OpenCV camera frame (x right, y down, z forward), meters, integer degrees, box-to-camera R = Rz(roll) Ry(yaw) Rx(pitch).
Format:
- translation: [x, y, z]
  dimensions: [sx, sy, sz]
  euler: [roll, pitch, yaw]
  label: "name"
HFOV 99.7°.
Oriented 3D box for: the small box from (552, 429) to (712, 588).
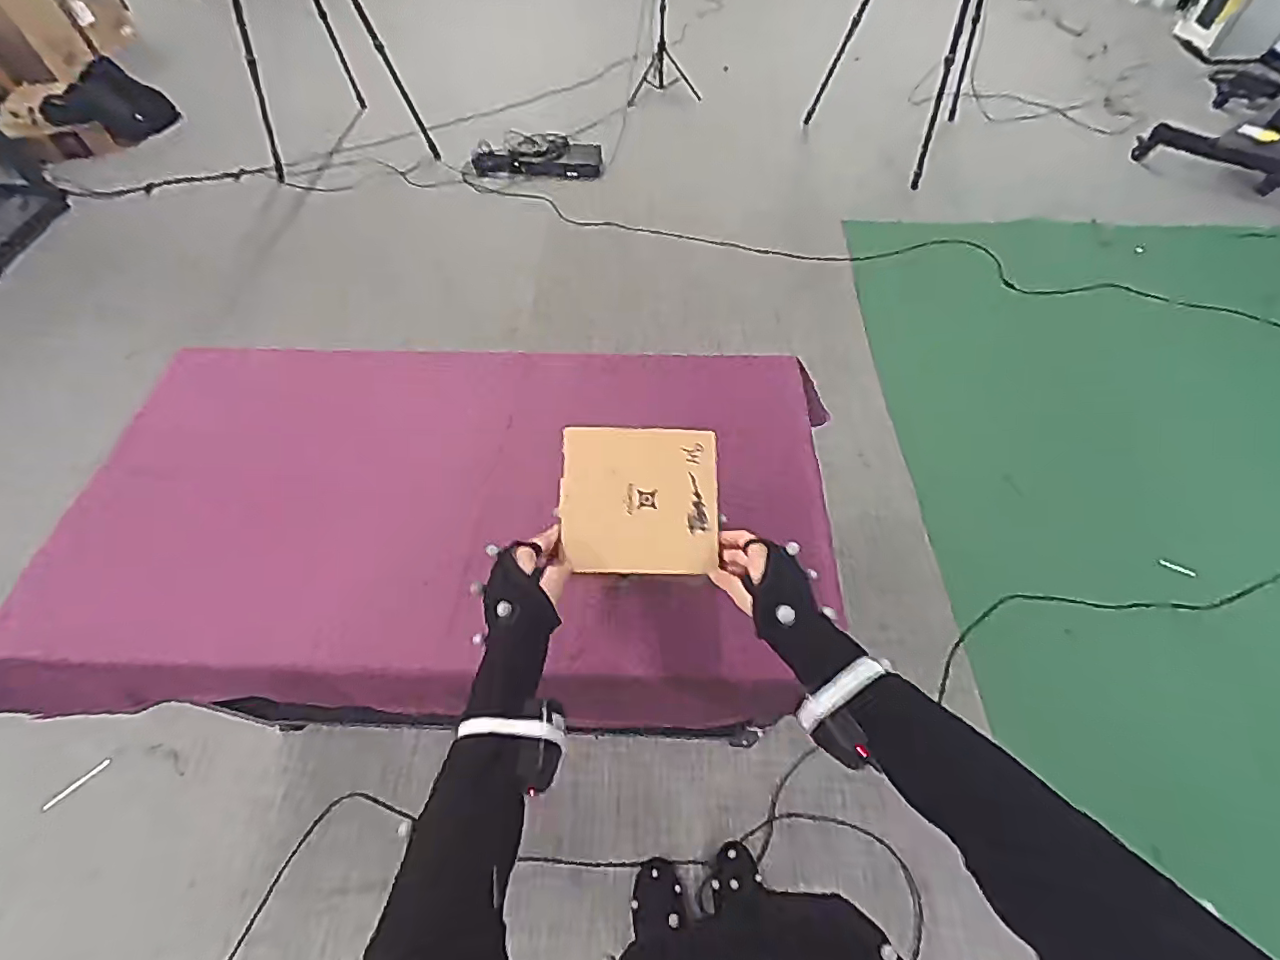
- translation: [-0.009, 0.045, 0.684]
  dimensions: [0.179, 0.176, 0.168]
  euler: [2, 73, -2]
  label: "small box"
